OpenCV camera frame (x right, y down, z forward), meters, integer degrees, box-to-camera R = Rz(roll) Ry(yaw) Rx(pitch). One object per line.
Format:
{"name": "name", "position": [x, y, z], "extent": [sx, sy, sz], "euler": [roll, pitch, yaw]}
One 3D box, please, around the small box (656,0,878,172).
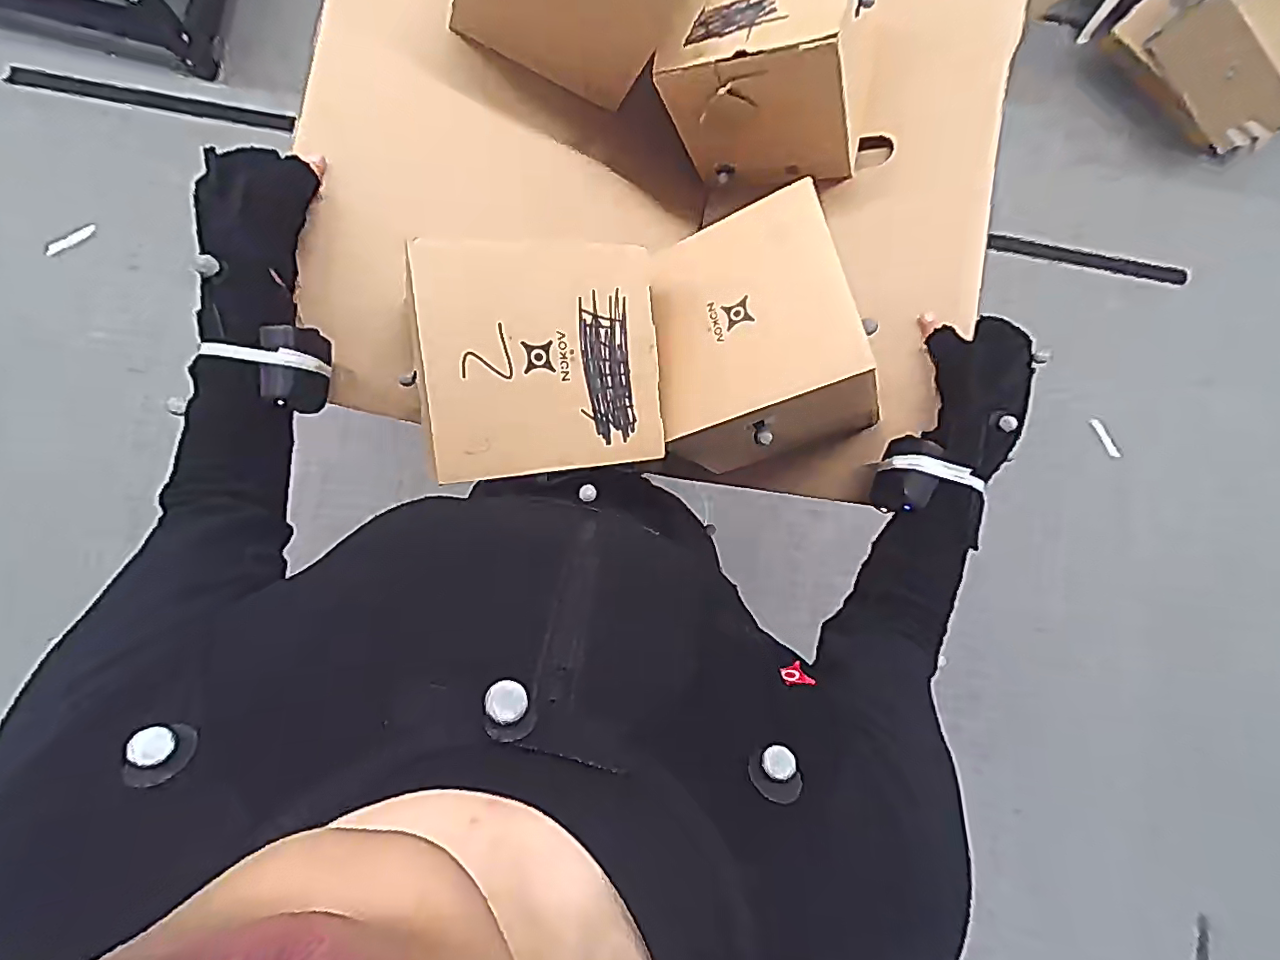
{"name": "small box", "position": [0.137, -0.436, 0.539], "extent": [0.168, 0.176, 0.179], "euler": [10, 84, 26]}
